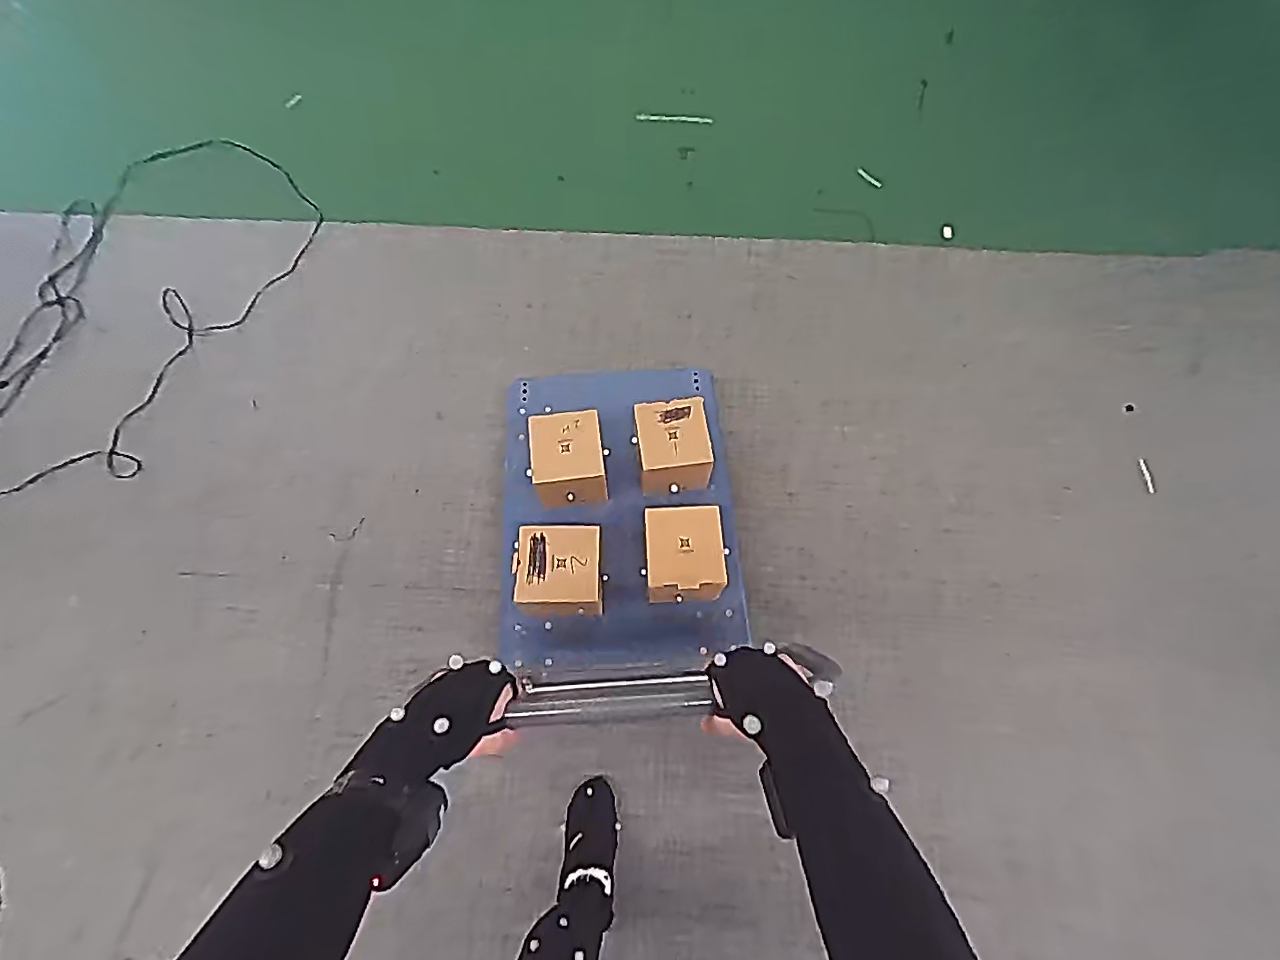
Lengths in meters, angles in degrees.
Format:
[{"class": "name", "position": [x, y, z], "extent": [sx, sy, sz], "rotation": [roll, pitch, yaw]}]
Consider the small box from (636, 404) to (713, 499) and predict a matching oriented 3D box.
[{"class": "small box", "position": [0.080, -0.068, 1.353], "extent": [0.168, 0.176, 0.179], "rotation": [-7, 68, -2]}]

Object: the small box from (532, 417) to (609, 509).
[{"class": "small box", "position": [-0.169, -0.035, 1.340], "extent": [0.168, 0.176, 0.179], "rotation": [-7, 67, -4]}]

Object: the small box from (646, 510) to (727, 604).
[{"class": "small box", "position": [0.100, 0.181, 1.247], "extent": [0.168, 0.176, 0.179], "rotation": [-3, 67, -1]}]
